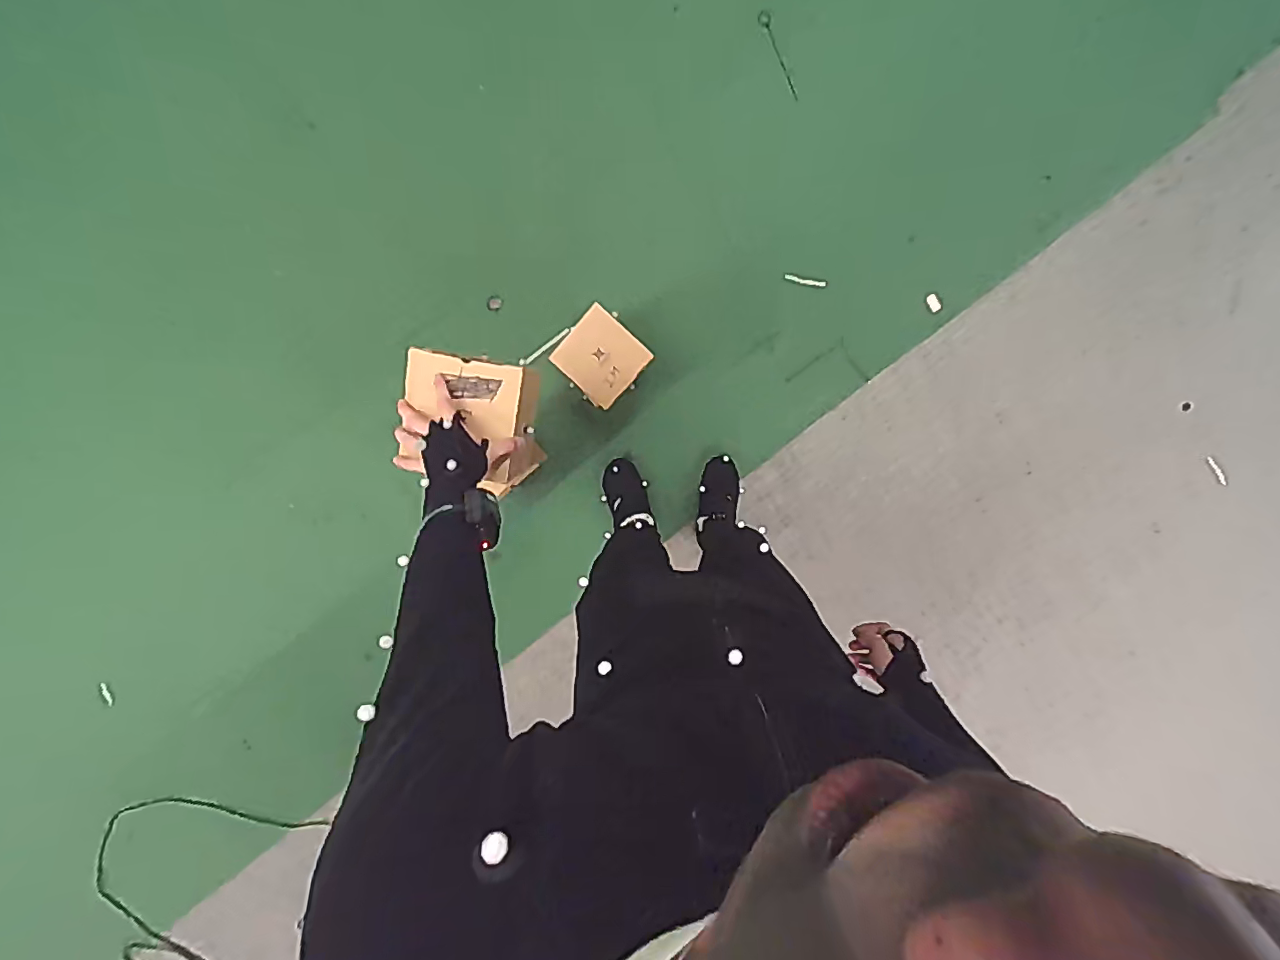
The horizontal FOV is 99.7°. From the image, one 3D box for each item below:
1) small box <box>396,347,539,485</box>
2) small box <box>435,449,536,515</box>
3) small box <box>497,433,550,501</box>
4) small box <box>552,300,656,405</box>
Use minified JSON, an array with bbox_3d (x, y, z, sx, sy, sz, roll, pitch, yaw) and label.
[{"bbox_3d":[-0.264,-0.104,0.862,0.168,0.176,0.179,10,100,-1],"label":"small box"},{"bbox_3d":[-0.370,-0.045,1.315,0.179,0.176,0.168,-42,97,5],"label":"small box"},{"bbox_3d":[-0.368,-0.073,1.477,0.168,0.176,0.179,-40,97,6],"label":"small box"},{"bbox_3d":[-0.082,-0.292,1.280,0.179,0.176,0.168,42,96,-7],"label":"small box"}]
